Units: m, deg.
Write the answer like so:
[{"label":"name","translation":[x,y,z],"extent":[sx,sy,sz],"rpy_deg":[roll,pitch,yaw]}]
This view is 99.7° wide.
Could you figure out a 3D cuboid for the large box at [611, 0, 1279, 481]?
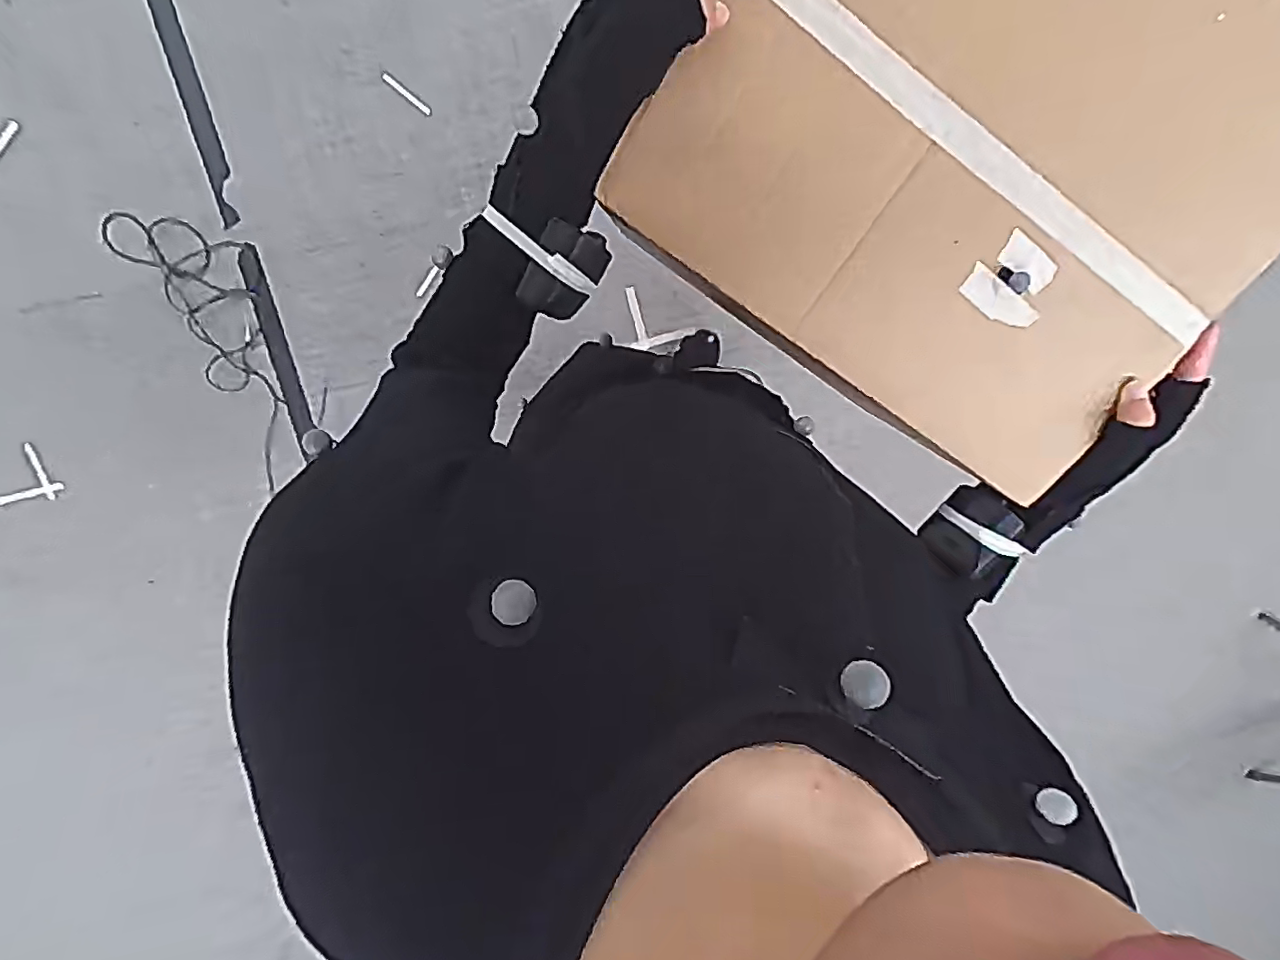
[{"label":"large box","translation":[0.224,-0.267,0.498],"extent":[0.408,0.320,0.320],"rpy_deg":[32,109,-11]}]
